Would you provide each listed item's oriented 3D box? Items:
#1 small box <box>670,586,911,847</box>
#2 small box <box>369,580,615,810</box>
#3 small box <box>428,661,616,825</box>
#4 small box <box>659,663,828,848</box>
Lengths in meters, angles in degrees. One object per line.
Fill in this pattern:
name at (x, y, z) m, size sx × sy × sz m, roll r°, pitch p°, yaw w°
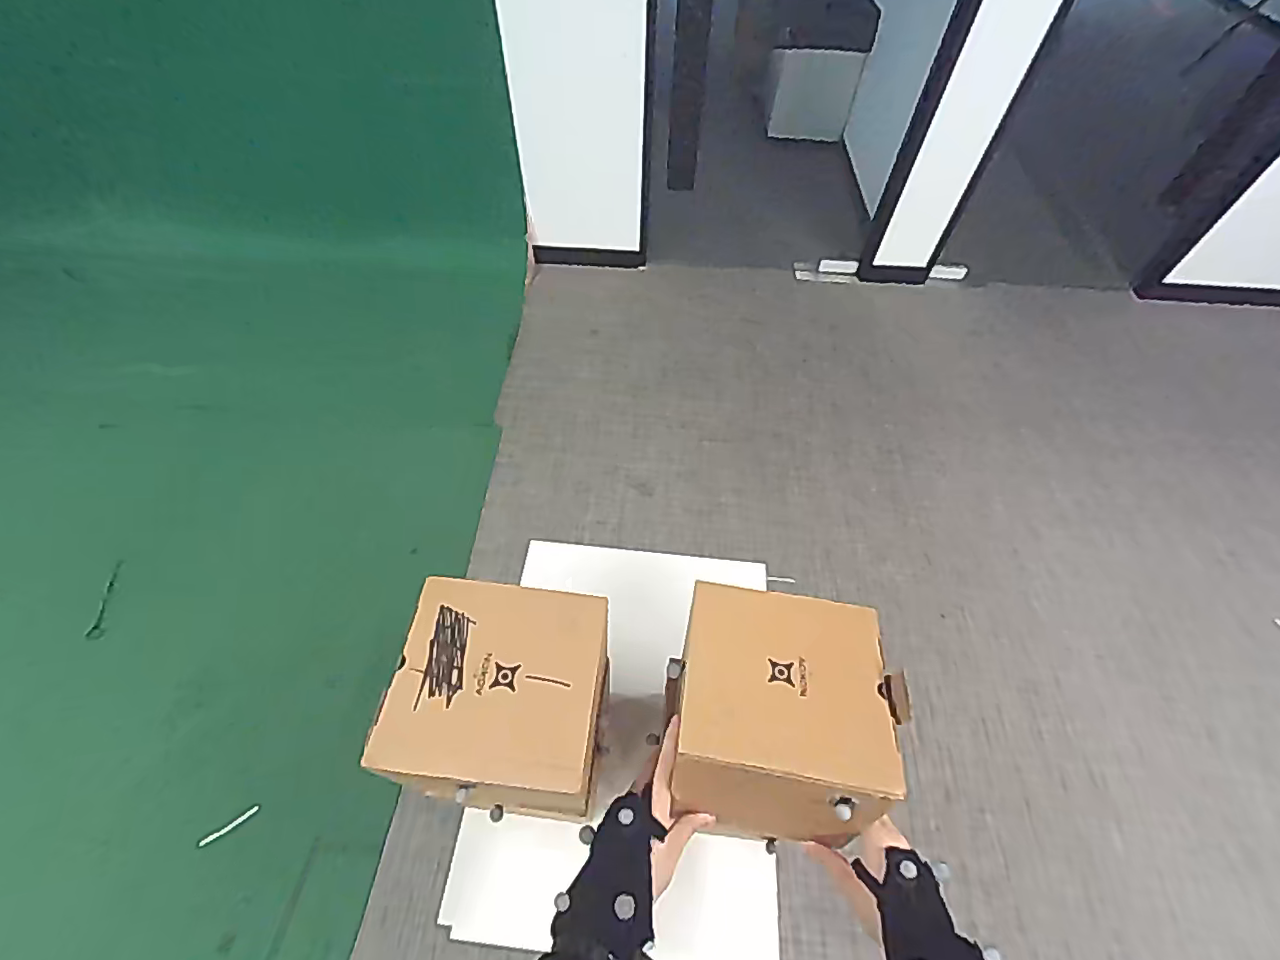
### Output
small box at (0.126, 0.227, 0.519) m, size 0.179 × 0.176 × 0.168 m, roll 8°, pitch 45°, yaw 5°
small box at (-0.122, 0.215, 0.528) m, size 0.179 × 0.176 × 0.168 m, roll 7°, pitch 55°, yaw 1°
small box at (-0.128, 0.314, 0.662) m, size 0.179 × 0.176 × 0.168 m, roll 7°, pitch 56°, yaw 1°
small box at (0.118, 0.337, 0.654) m, size 0.179 × 0.176 × 0.168 m, roll 4°, pitch 54°, yaw 4°
